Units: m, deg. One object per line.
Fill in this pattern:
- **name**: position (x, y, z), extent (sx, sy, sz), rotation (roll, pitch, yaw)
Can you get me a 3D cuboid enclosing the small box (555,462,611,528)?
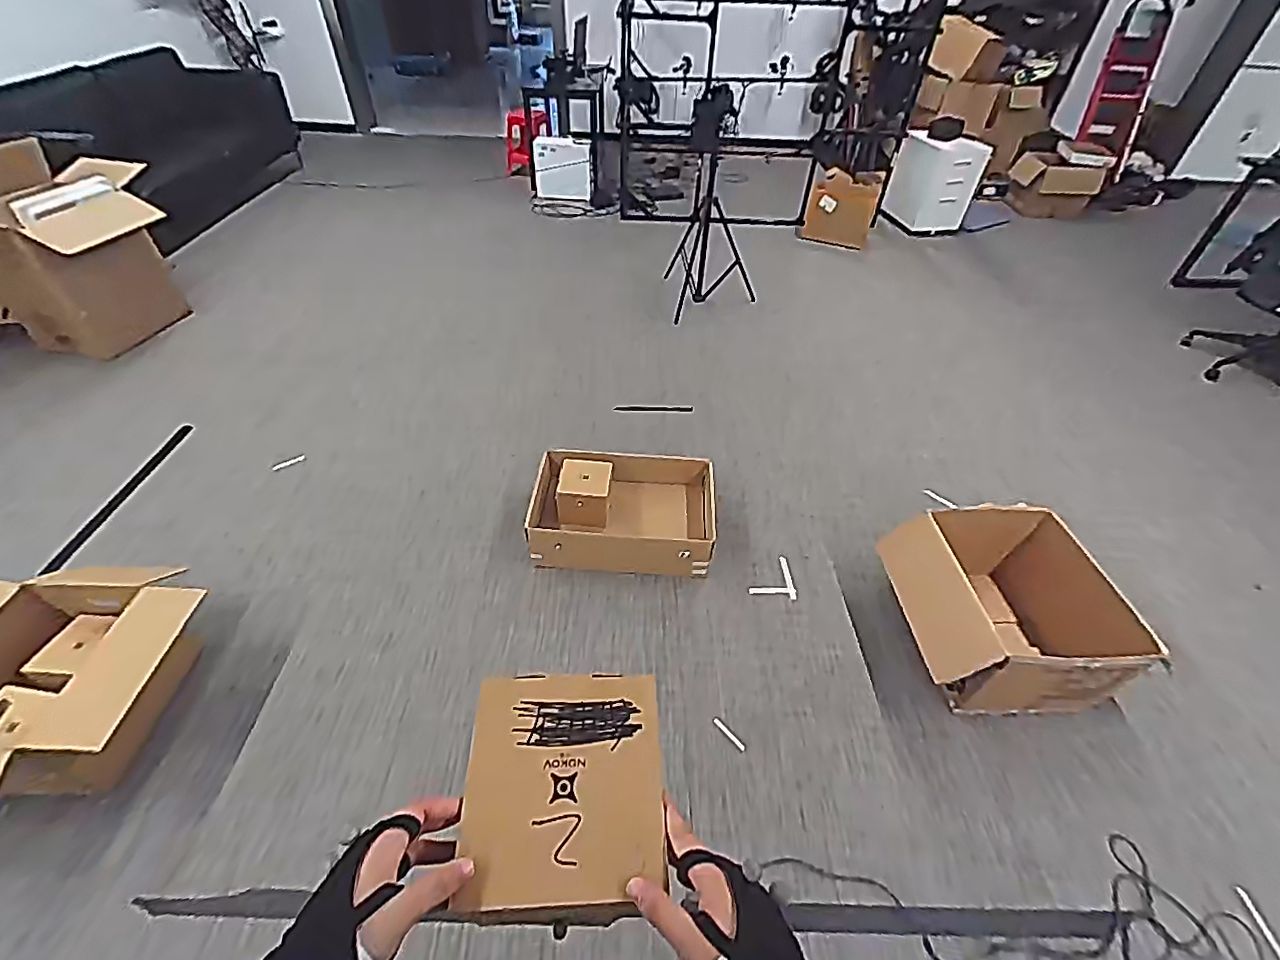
- **small box**: position (-0.199, 0.055, 1.931), extent (0.179, 0.176, 0.168), rotation (5, 47, 0)
